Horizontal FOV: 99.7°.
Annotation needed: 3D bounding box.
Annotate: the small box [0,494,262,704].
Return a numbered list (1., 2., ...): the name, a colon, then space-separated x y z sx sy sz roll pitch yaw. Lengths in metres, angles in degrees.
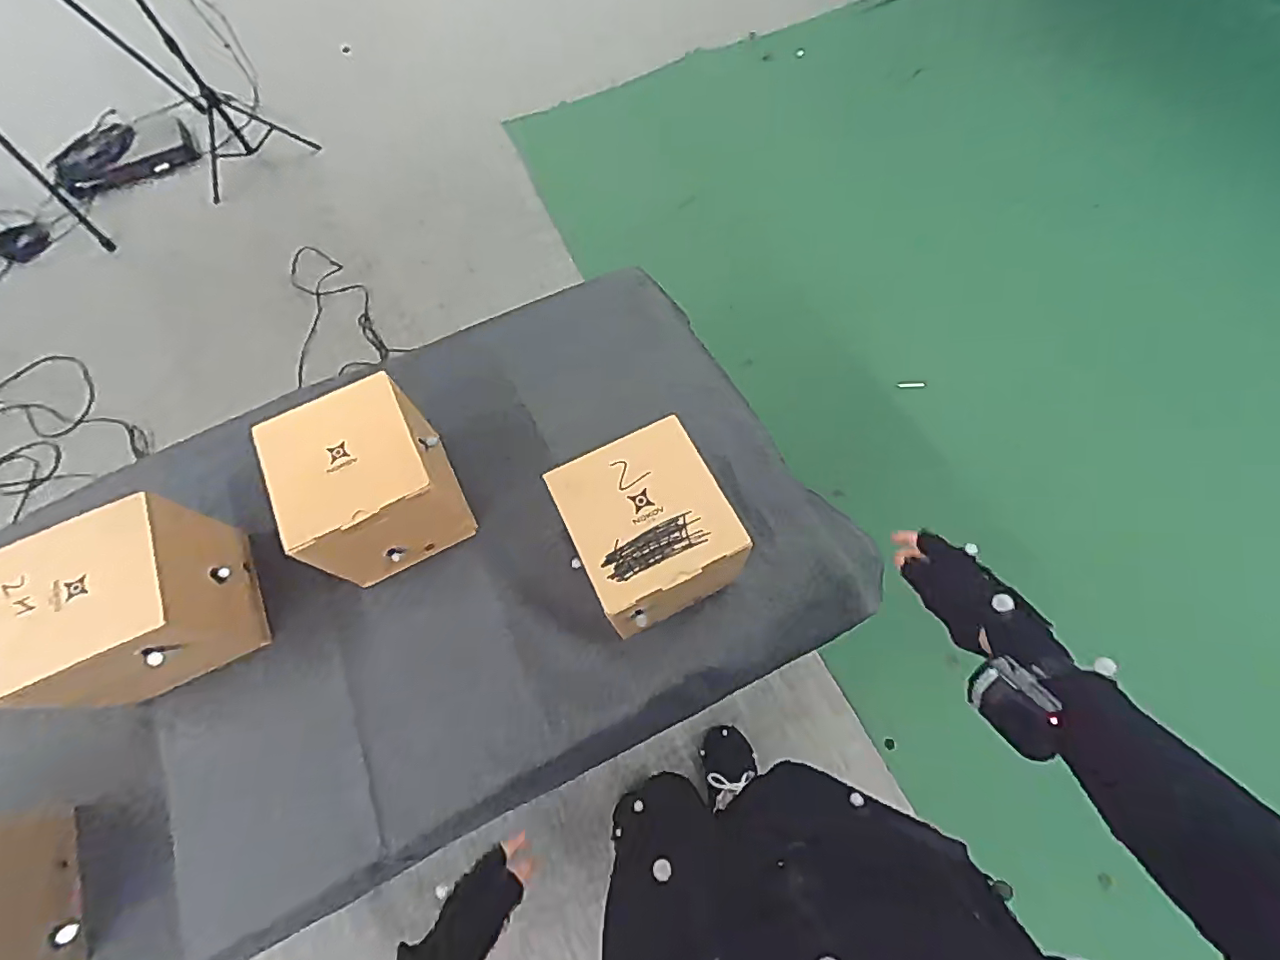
1. small box: -0.582 0.144 0.634 0.179 0.176 0.168 -24 69 -8

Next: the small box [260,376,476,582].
1. small box: -0.334 0.006 0.688 0.168 0.176 0.179 -26 69 -9
